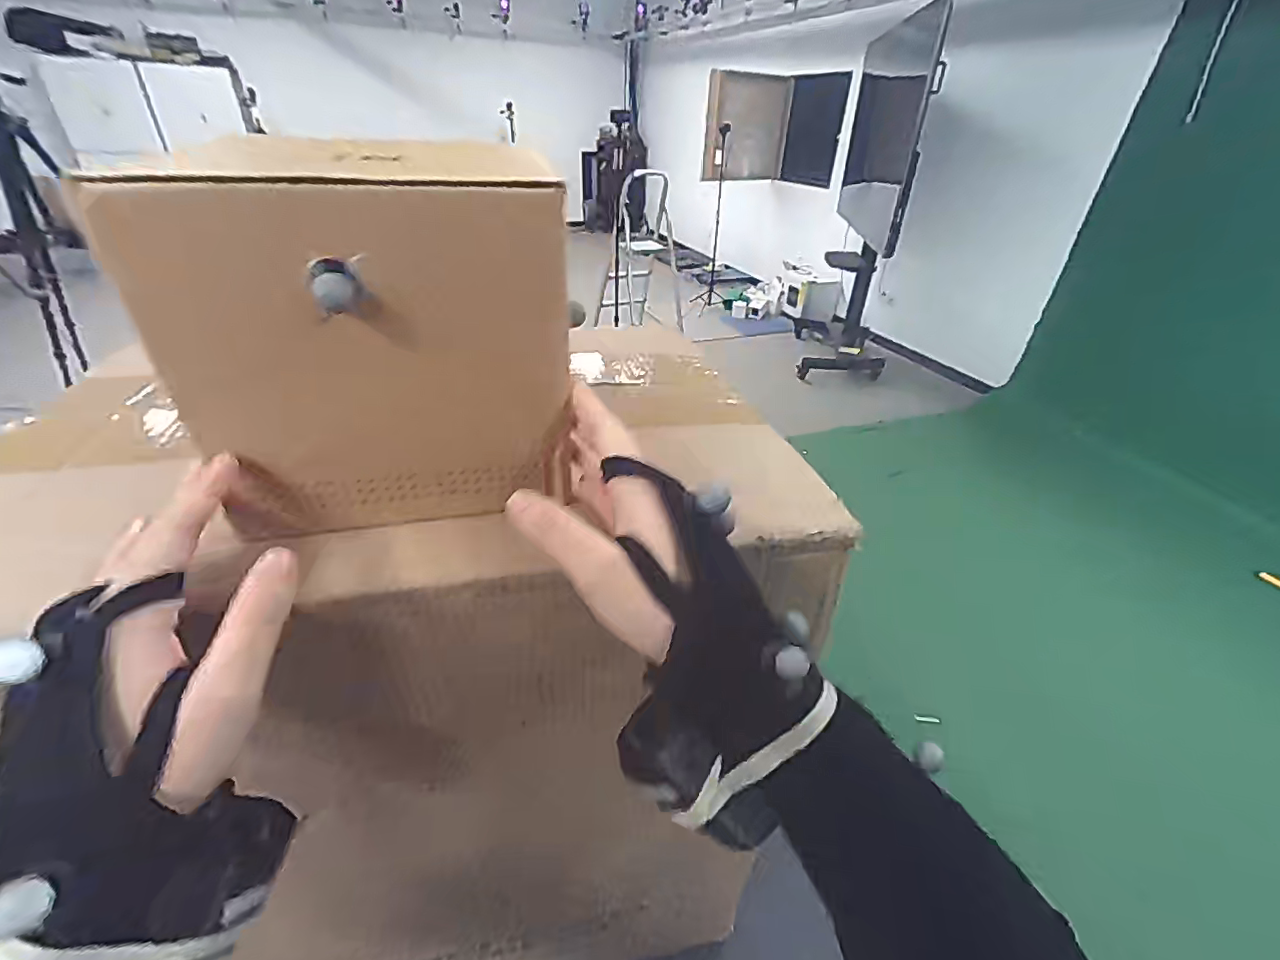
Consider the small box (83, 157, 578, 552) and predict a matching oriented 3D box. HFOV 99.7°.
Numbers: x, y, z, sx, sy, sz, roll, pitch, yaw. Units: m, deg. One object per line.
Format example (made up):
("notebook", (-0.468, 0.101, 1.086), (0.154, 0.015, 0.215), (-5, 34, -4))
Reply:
("small box", (-0.132, -0.079, 0.315), (0.179, 0.176, 0.168), (-6, 36, -12))
